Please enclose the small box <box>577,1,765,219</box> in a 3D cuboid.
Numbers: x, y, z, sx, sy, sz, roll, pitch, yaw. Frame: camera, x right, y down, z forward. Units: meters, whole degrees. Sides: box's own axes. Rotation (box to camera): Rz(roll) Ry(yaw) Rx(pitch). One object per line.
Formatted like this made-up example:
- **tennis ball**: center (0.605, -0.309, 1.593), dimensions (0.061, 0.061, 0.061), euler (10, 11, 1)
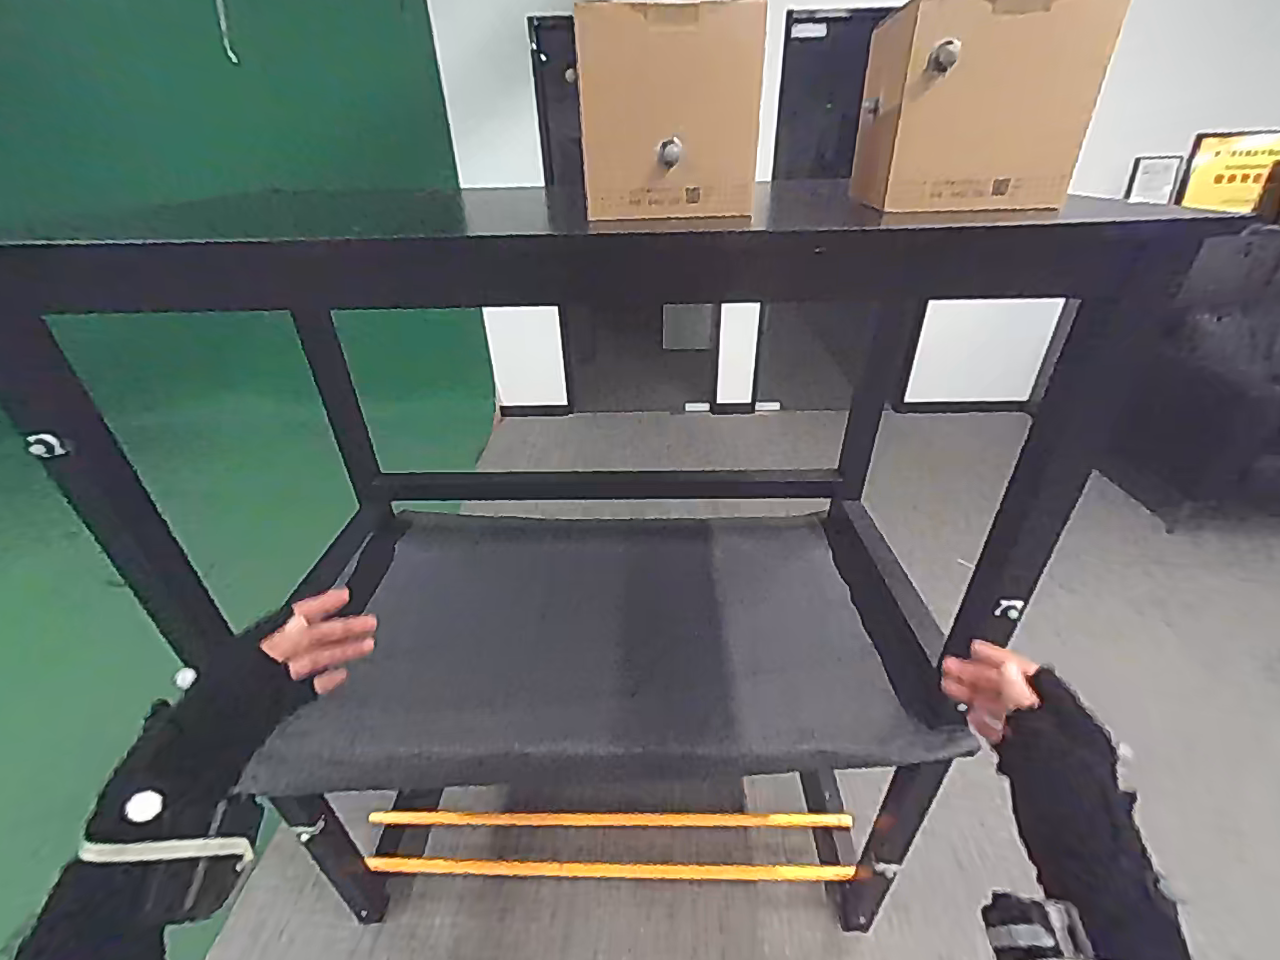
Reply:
- **small box**: center (0.025, -0.378, 0.574), dimensions (0.168, 0.176, 0.179), euler (-3, 31, -2)
